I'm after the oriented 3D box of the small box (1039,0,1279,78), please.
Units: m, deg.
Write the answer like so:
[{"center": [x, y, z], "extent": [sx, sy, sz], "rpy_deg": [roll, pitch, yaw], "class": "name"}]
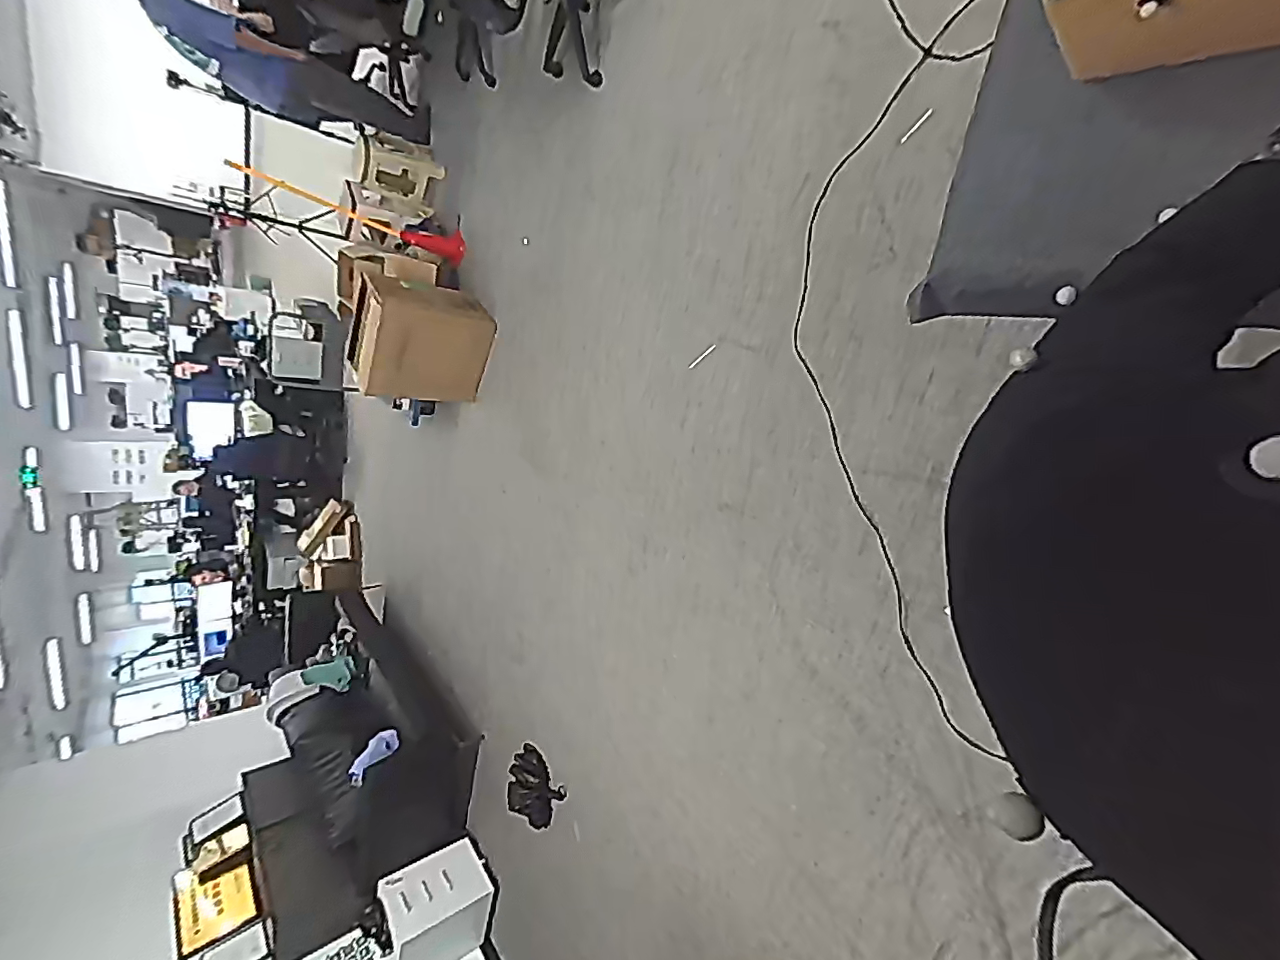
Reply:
[{"center": [0.495, -0.491, 0.472], "extent": [0.179, 0.176, 0.168], "rpy_deg": [23, 110, 43], "class": "small box"}]
